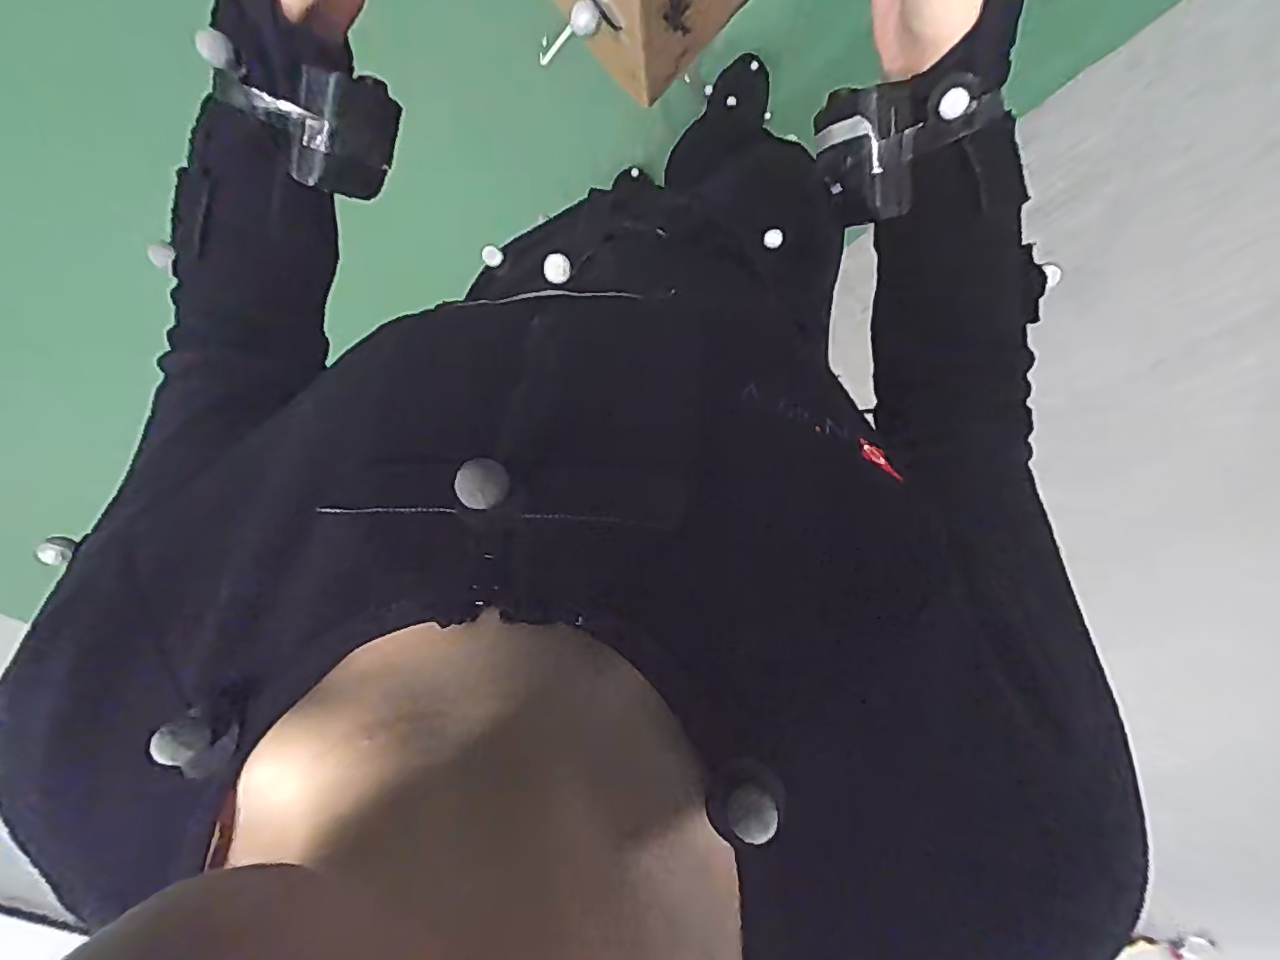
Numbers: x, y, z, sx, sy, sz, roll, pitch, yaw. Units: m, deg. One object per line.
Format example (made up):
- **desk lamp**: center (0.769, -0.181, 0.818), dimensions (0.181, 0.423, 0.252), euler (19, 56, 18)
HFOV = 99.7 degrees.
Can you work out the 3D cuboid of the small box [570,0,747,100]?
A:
- **small box**: center (0.010, -0.296, 0.190), dimensions (0.179, 0.168, 0.176), euler (-43, 105, 16)
